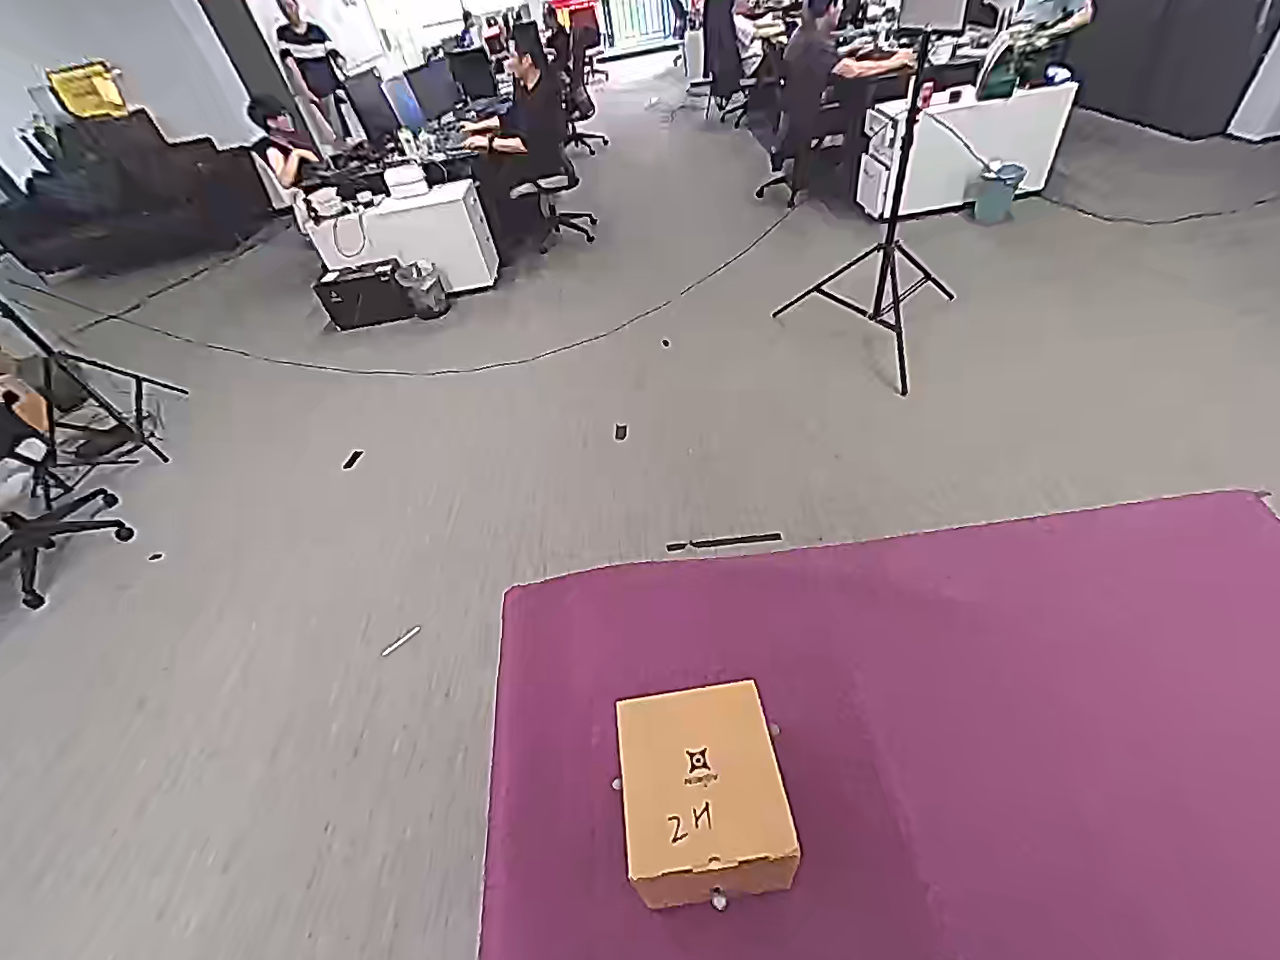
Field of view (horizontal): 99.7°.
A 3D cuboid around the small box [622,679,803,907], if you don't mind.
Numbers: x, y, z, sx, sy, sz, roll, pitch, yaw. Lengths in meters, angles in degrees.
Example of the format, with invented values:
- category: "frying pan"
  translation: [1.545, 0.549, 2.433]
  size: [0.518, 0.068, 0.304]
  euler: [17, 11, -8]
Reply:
- category: "small box"
  translation: [0.074, 0.358, 0.620]
  size: [0.168, 0.176, 0.179]
  euler: [-10, 44, 1]
